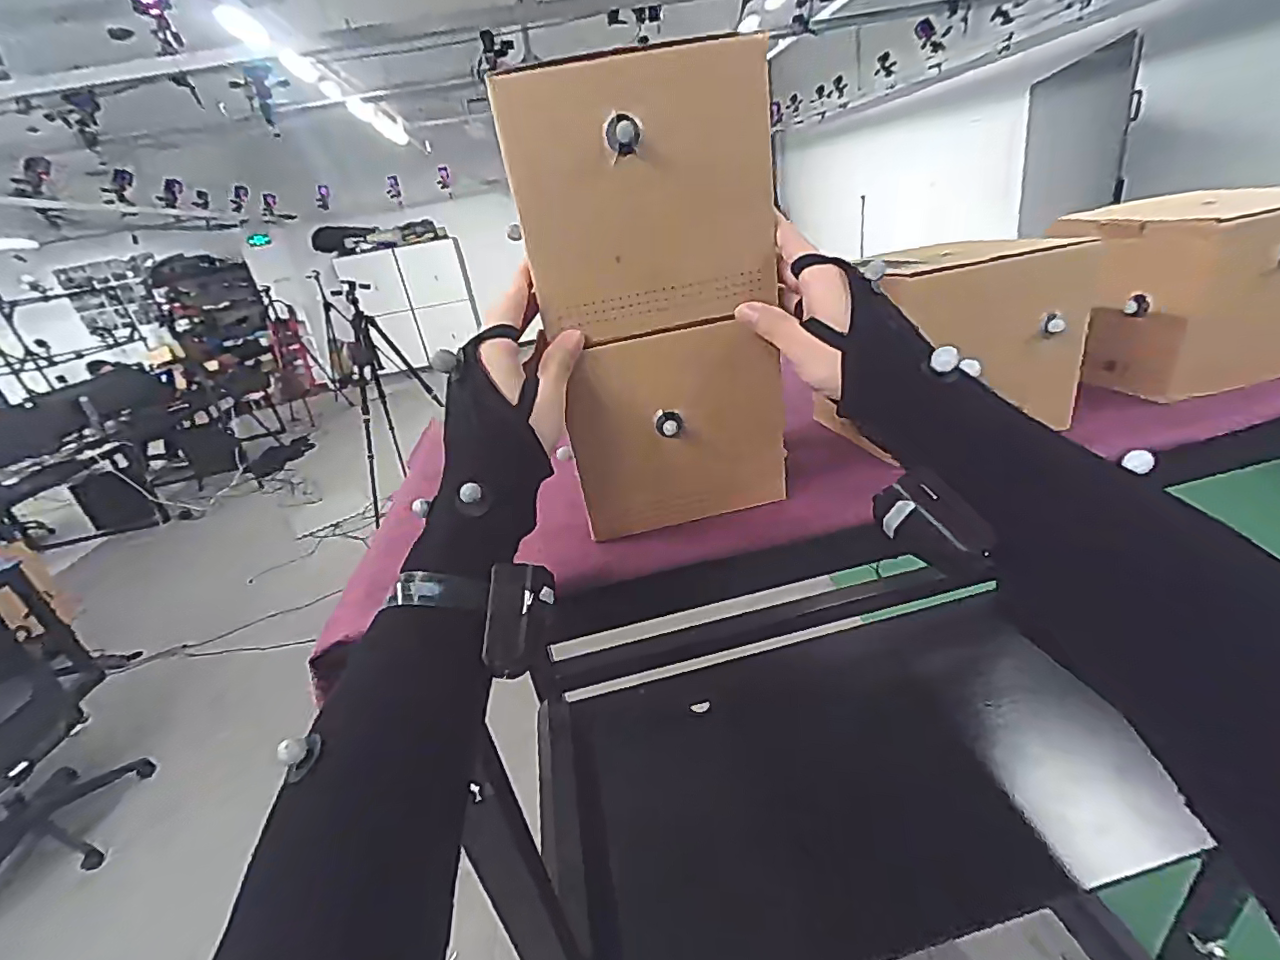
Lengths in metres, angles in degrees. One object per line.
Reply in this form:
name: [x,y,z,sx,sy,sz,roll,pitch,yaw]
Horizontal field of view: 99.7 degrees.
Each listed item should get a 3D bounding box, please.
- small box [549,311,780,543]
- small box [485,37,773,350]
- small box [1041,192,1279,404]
small box: [0.019,-0.065,0.503,0.179,0.176,0.168,-13,27,-4]
small box: [-0.005,-0.211,0.431,0.179,0.176,0.168,-12,27,-3]
small box: [0.557,-0.188,0.557,0.179,0.176,0.168,-12,27,-4]
